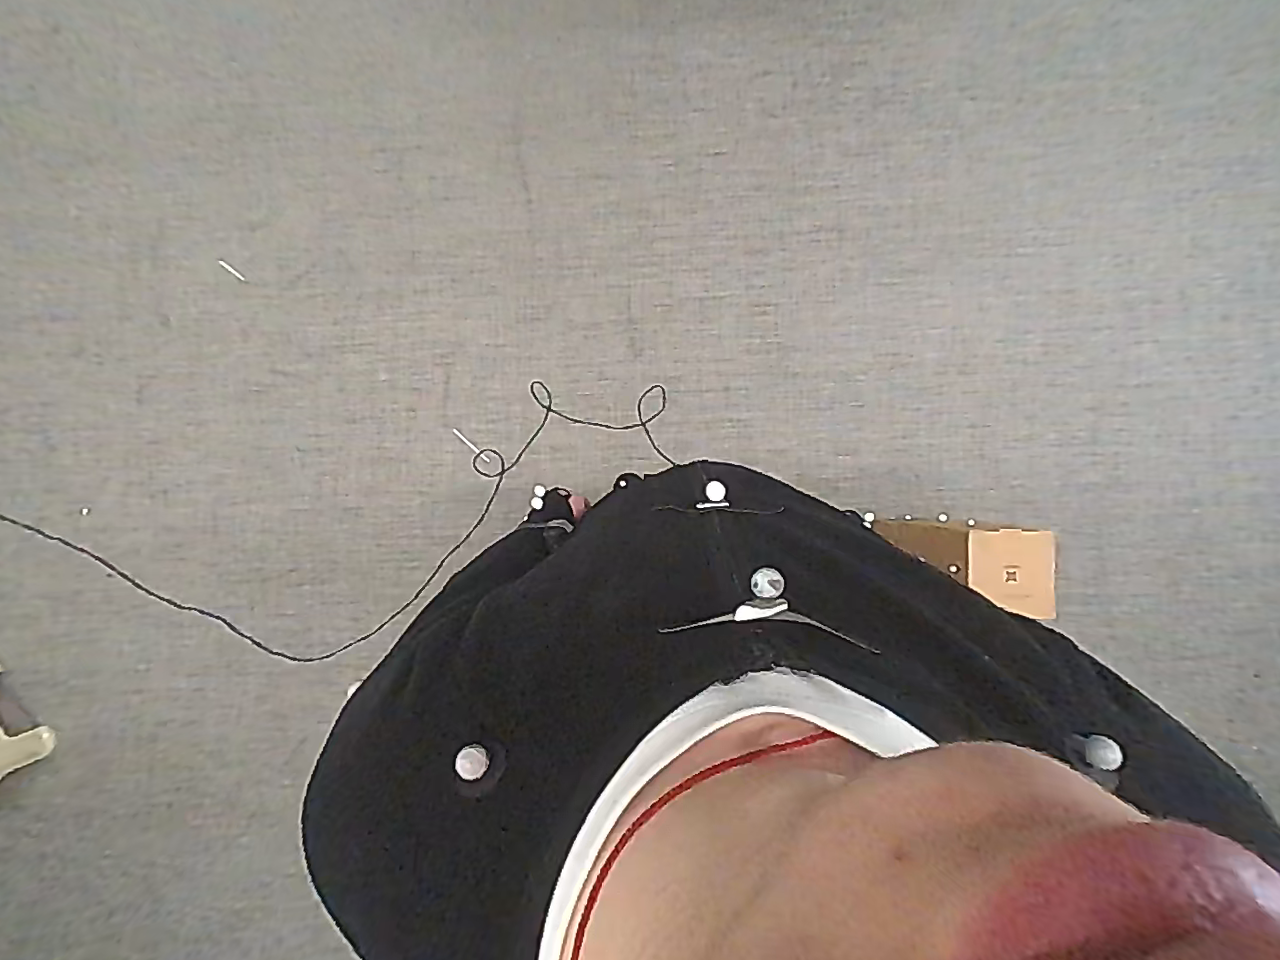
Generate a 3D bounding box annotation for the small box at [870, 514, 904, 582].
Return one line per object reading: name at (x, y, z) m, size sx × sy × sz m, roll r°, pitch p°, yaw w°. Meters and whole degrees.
small box at (0.742, 0.183, 1.472) m, size 0.179 × 0.176 × 0.168 m, roll 0°, pitch 91°, yaw 2°

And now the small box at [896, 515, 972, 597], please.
small box at (0.736, 0.179, 1.306) m, size 0.168 × 0.176 × 0.179 m, roll -1°, pitch 90°, yaw 1°

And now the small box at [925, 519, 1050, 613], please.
small box at (0.726, 0.175, 1.145) m, size 0.168 × 0.176 × 0.179 m, roll -1°, pitch 92°, yaw 2°
